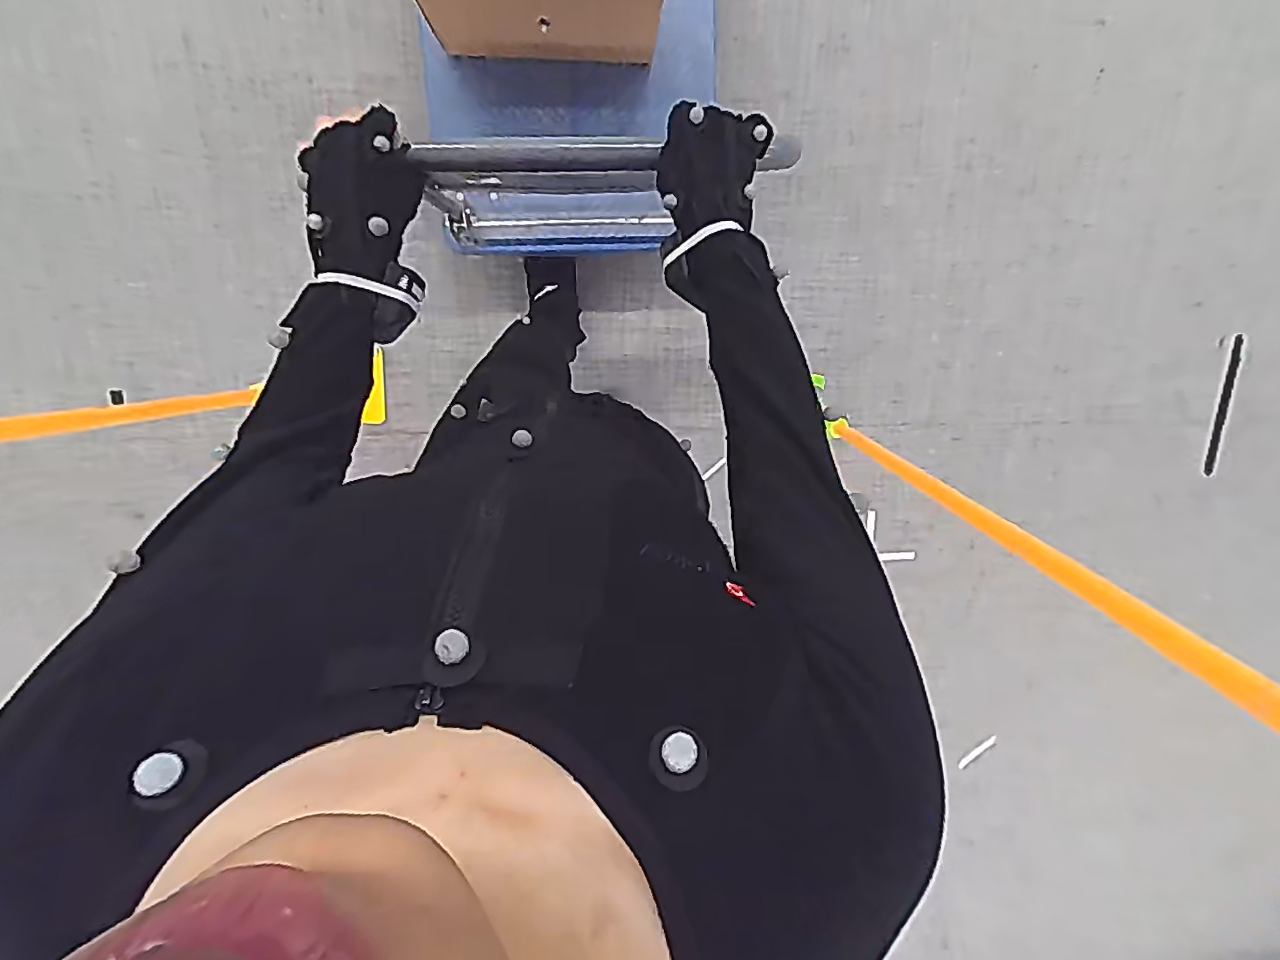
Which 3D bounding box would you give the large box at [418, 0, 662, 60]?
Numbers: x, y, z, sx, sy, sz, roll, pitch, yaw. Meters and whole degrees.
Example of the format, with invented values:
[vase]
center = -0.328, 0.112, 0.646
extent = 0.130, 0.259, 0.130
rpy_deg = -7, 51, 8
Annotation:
[large box]
center = -0.166, -0.942, 0.894
extent = 0.408, 0.320, 0.320
rpy_deg = -1, 105, -3
